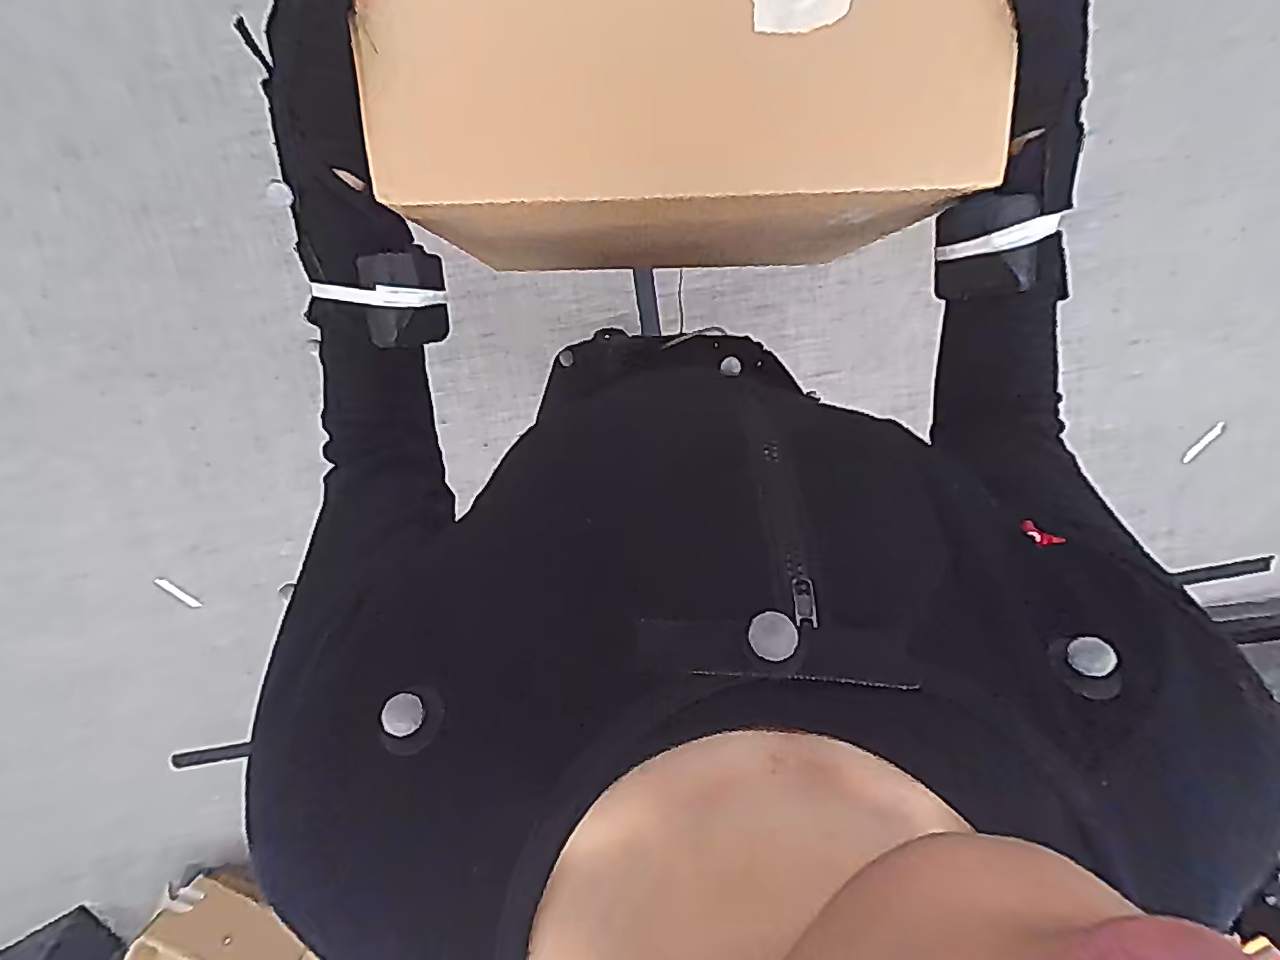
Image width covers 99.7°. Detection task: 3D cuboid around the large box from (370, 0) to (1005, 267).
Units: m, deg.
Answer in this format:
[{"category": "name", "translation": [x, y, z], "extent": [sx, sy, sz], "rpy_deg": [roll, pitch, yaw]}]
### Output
[{"category": "large box", "translation": [0.025, -0.376, 0.470], "extent": [0.408, 0.320, 0.320], "rpy_deg": [-2, 105, -1]}]
